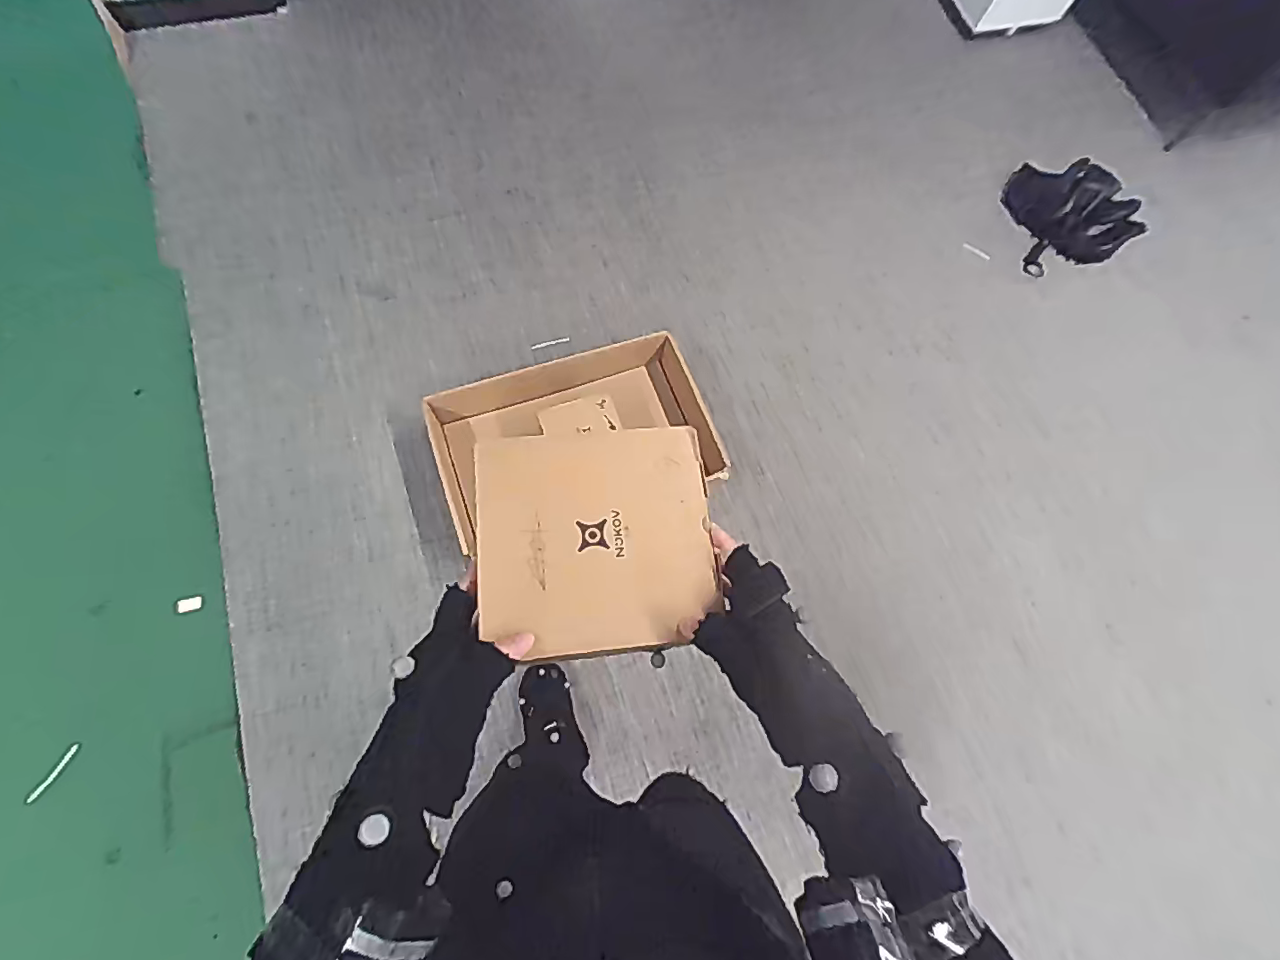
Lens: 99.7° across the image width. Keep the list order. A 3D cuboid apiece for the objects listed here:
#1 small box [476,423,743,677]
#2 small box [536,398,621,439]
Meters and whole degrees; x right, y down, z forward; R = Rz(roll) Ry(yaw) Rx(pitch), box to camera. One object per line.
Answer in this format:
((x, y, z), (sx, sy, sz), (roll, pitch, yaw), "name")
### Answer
((-0.035, 0.067, 0.467), (0.179, 0.176, 0.168), (-8, 72, -11), "small box")
((-0.132, -0.063, 1.288), (0.179, 0.176, 0.168), (-20, 73, -12), "small box")
